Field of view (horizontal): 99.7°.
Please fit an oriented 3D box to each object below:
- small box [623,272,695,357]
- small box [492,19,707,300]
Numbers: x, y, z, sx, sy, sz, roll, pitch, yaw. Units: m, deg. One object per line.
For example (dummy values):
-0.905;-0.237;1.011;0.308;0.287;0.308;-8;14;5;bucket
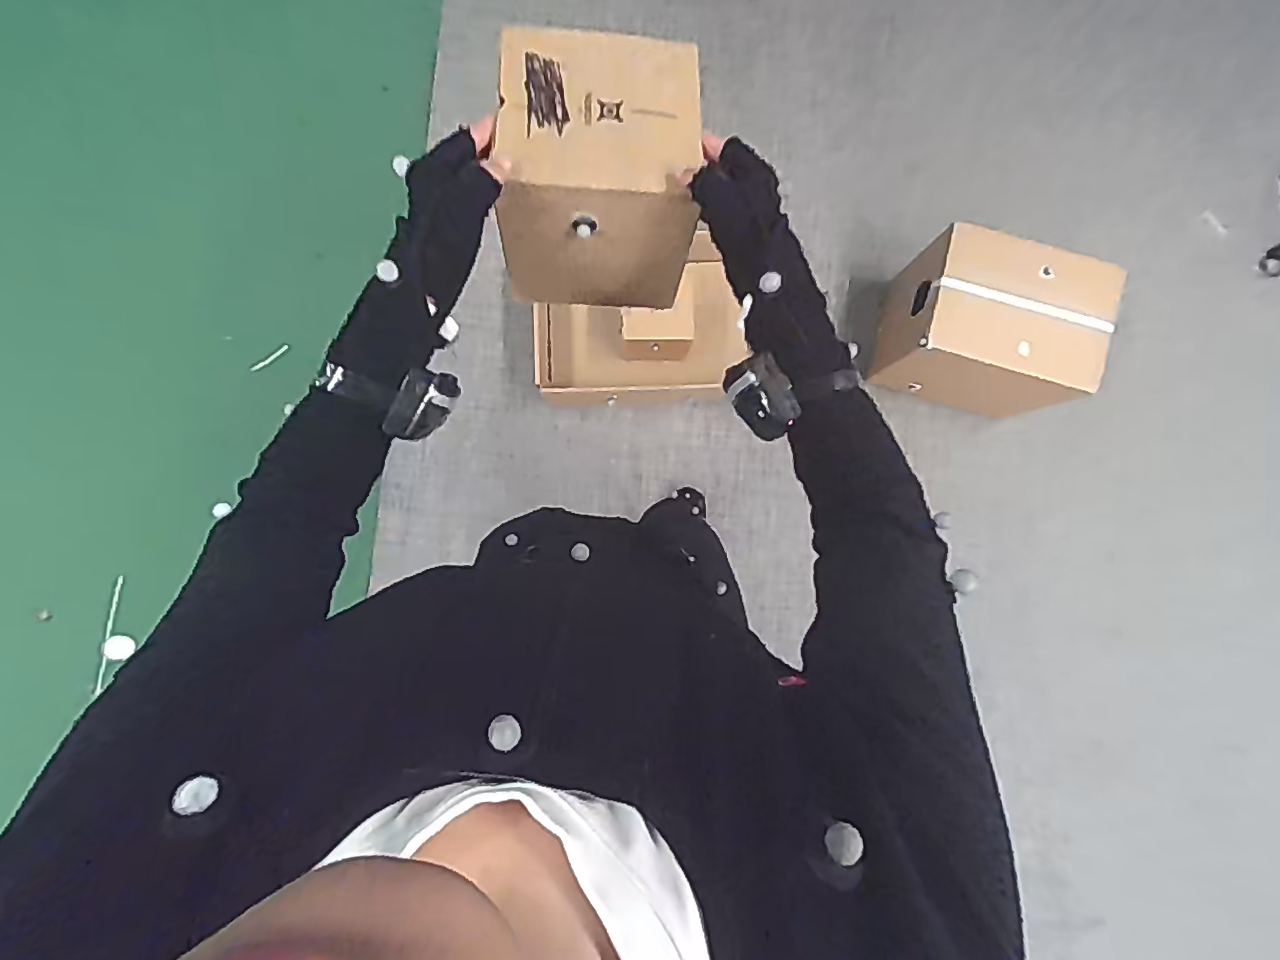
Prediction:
0.045;-0.419;1.390;0.179;0.176;0.168;-1;86;-3;small box
-0.039;-0.296;0.530;0.179;0.176;0.168;2;75;-7;small box
